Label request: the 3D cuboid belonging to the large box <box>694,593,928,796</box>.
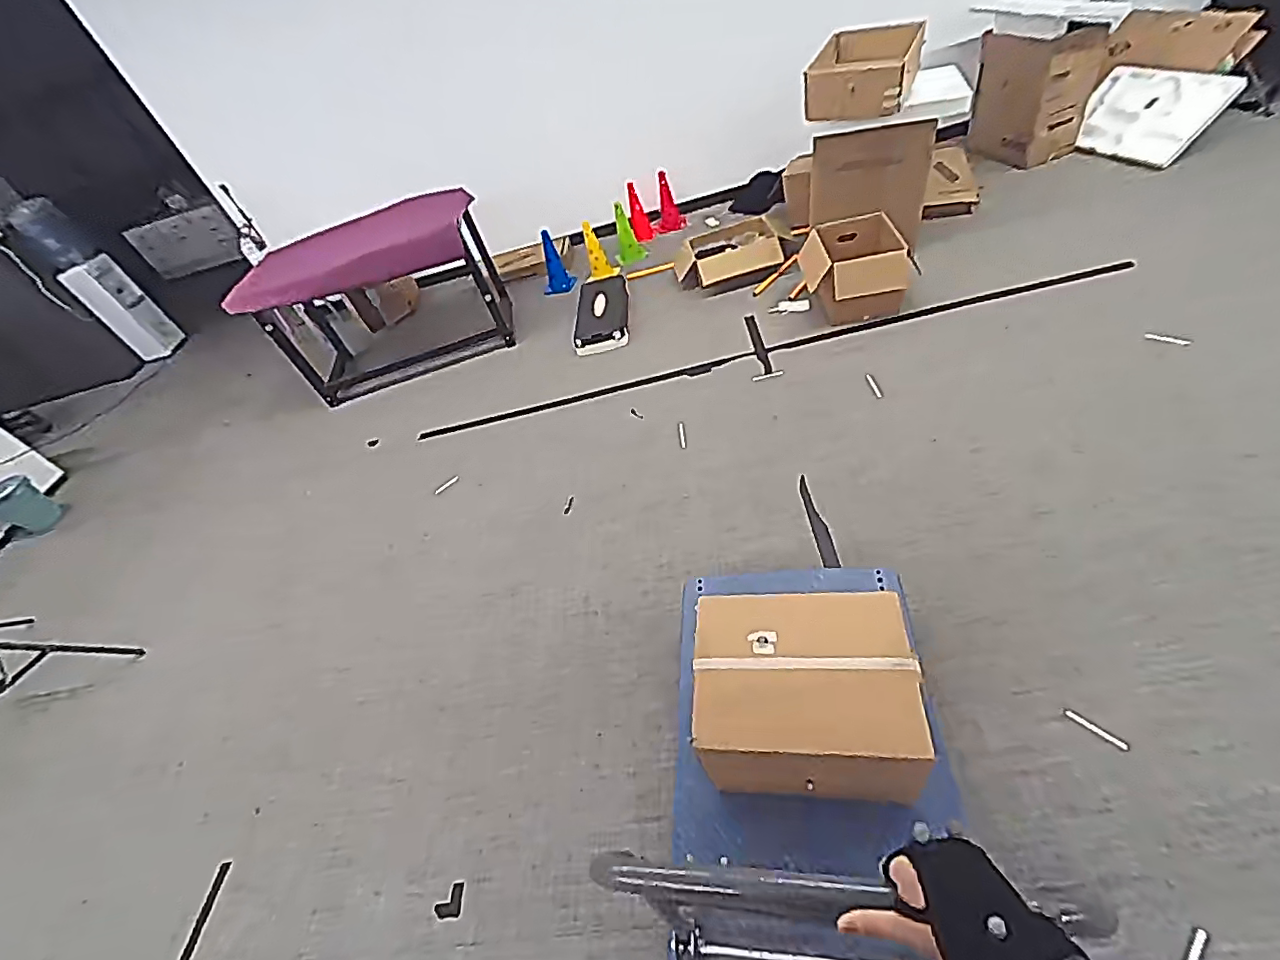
[{"bbox_3d":[0.343,0.462,1.150,0.408,0.320,0.320,-6,46,15],"label":"large box"}]
